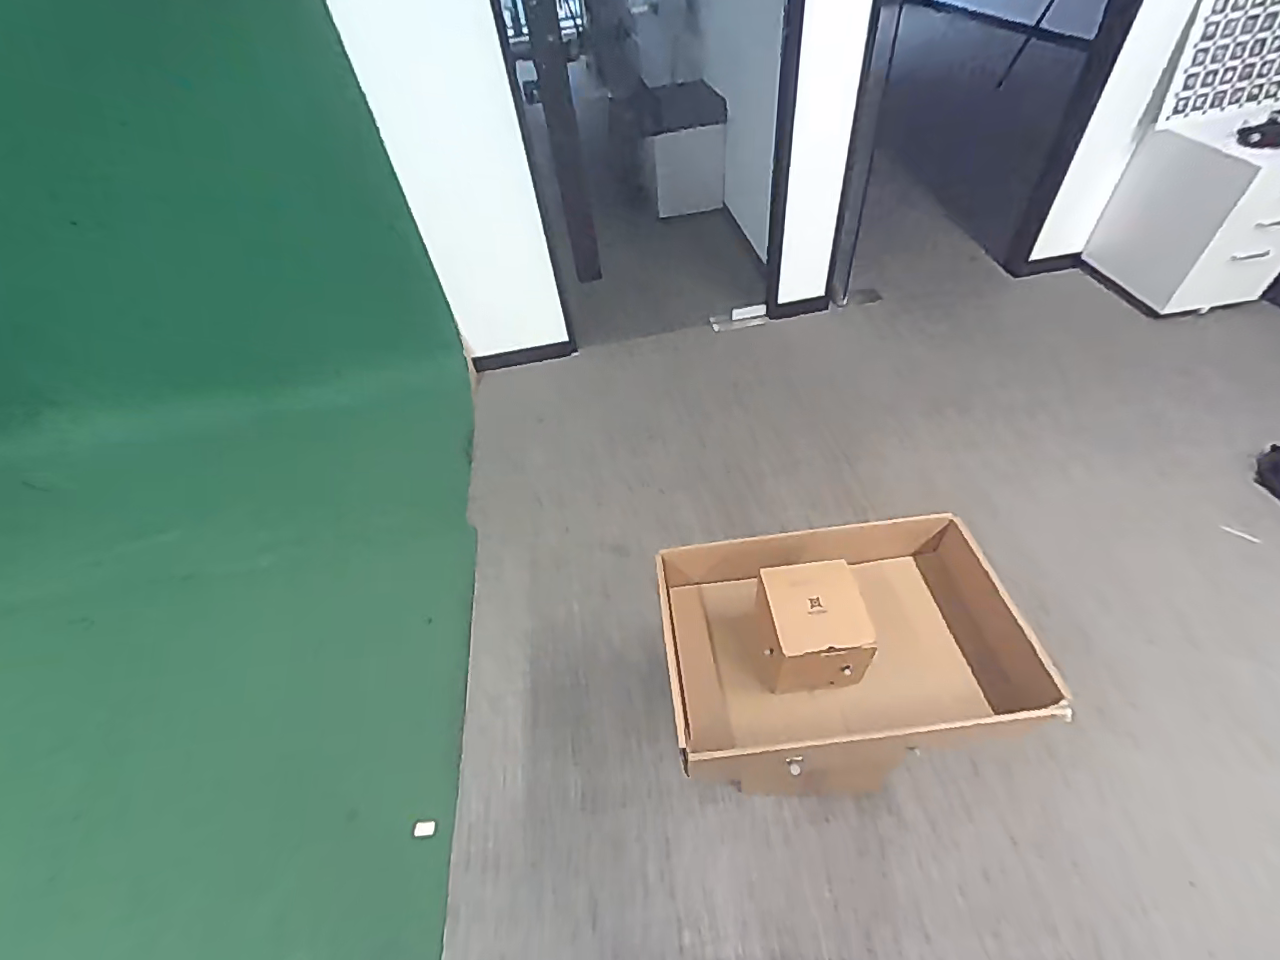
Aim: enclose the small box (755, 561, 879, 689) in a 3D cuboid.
[{"bbox_3d":[0.321,0.278,1.020,0.168,0.176,0.179,-6,46,-1],"label":"small box"}]
